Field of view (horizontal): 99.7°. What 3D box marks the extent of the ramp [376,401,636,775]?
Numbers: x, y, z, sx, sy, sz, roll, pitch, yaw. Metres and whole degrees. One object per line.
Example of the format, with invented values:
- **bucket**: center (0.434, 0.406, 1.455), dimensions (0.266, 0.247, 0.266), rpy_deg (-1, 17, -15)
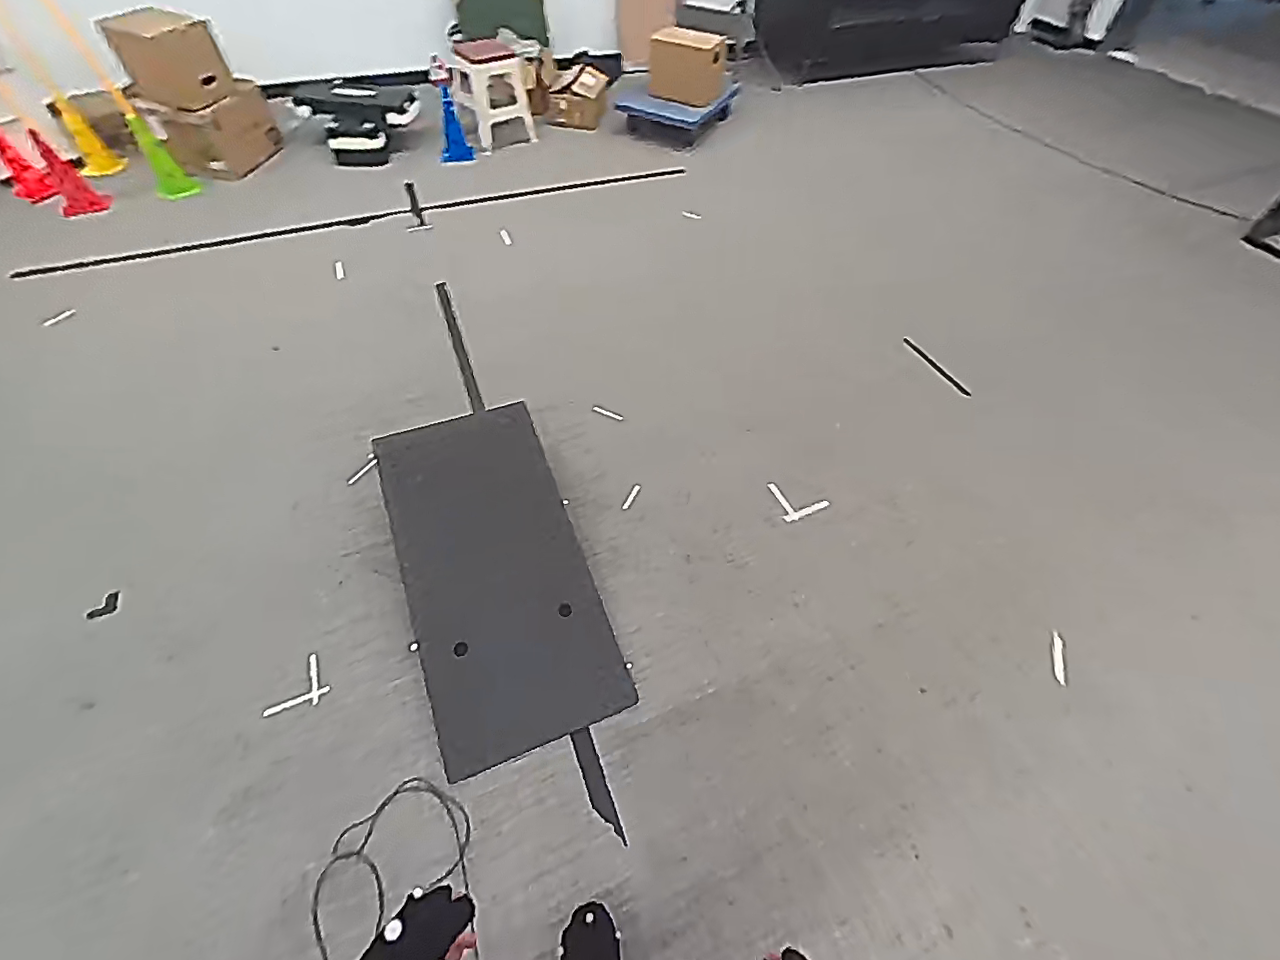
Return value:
- **ramp**: center (-0.410, 0.222, 1.544), dimensions (0.509, 0.206, 0.991), rpy_deg (-18, 56, -17)
